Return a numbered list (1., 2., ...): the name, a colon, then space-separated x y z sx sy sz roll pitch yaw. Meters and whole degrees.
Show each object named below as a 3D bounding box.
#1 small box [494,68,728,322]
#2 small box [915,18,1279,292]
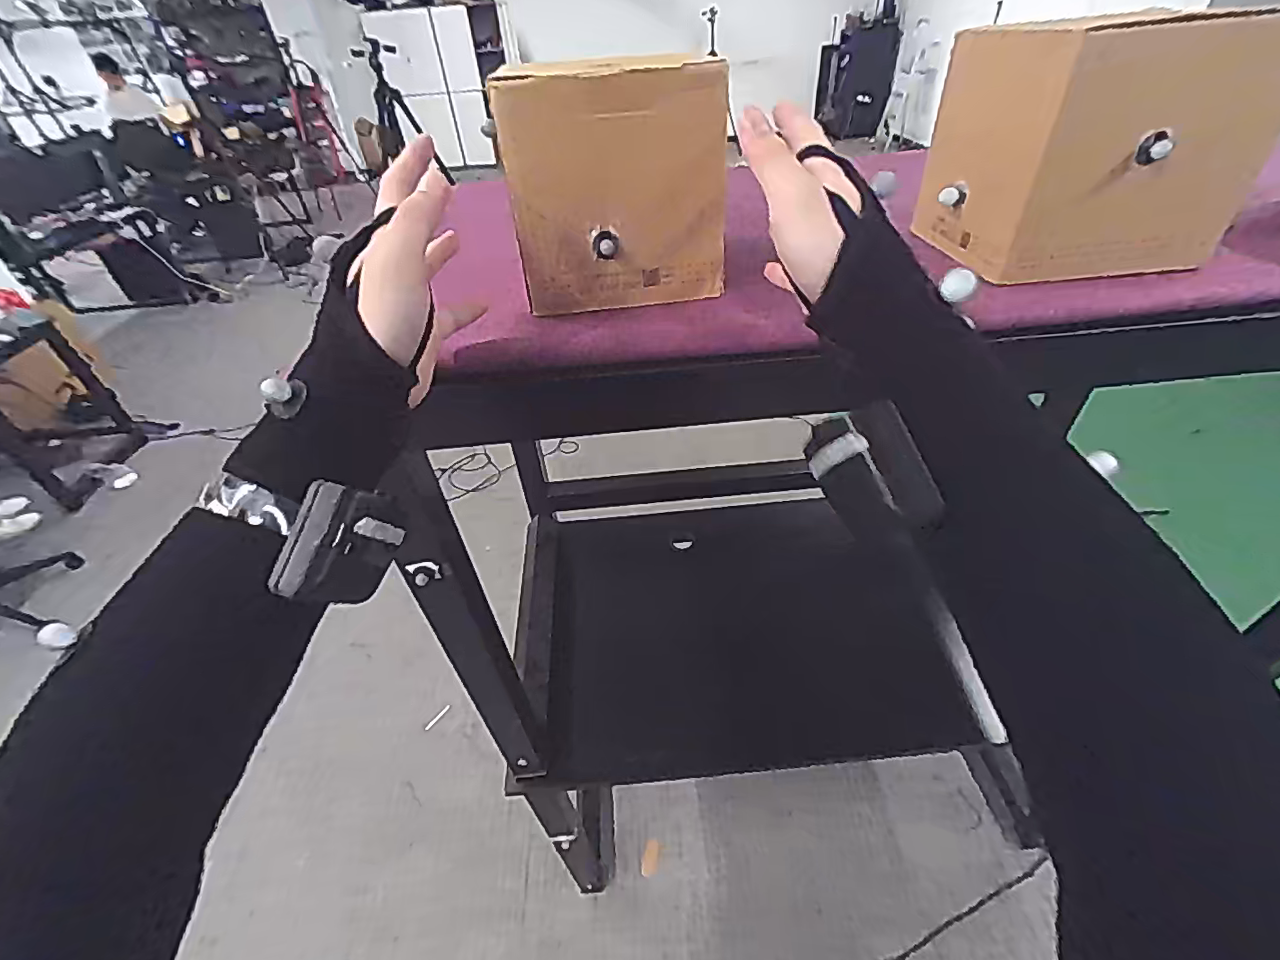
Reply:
1. small box: -0.024 -0.258 0.486 0.168 0.176 0.179 -7 40 -3
2. small box: 0.368 -0.273 0.458 0.179 0.176 0.168 -5 39 1
